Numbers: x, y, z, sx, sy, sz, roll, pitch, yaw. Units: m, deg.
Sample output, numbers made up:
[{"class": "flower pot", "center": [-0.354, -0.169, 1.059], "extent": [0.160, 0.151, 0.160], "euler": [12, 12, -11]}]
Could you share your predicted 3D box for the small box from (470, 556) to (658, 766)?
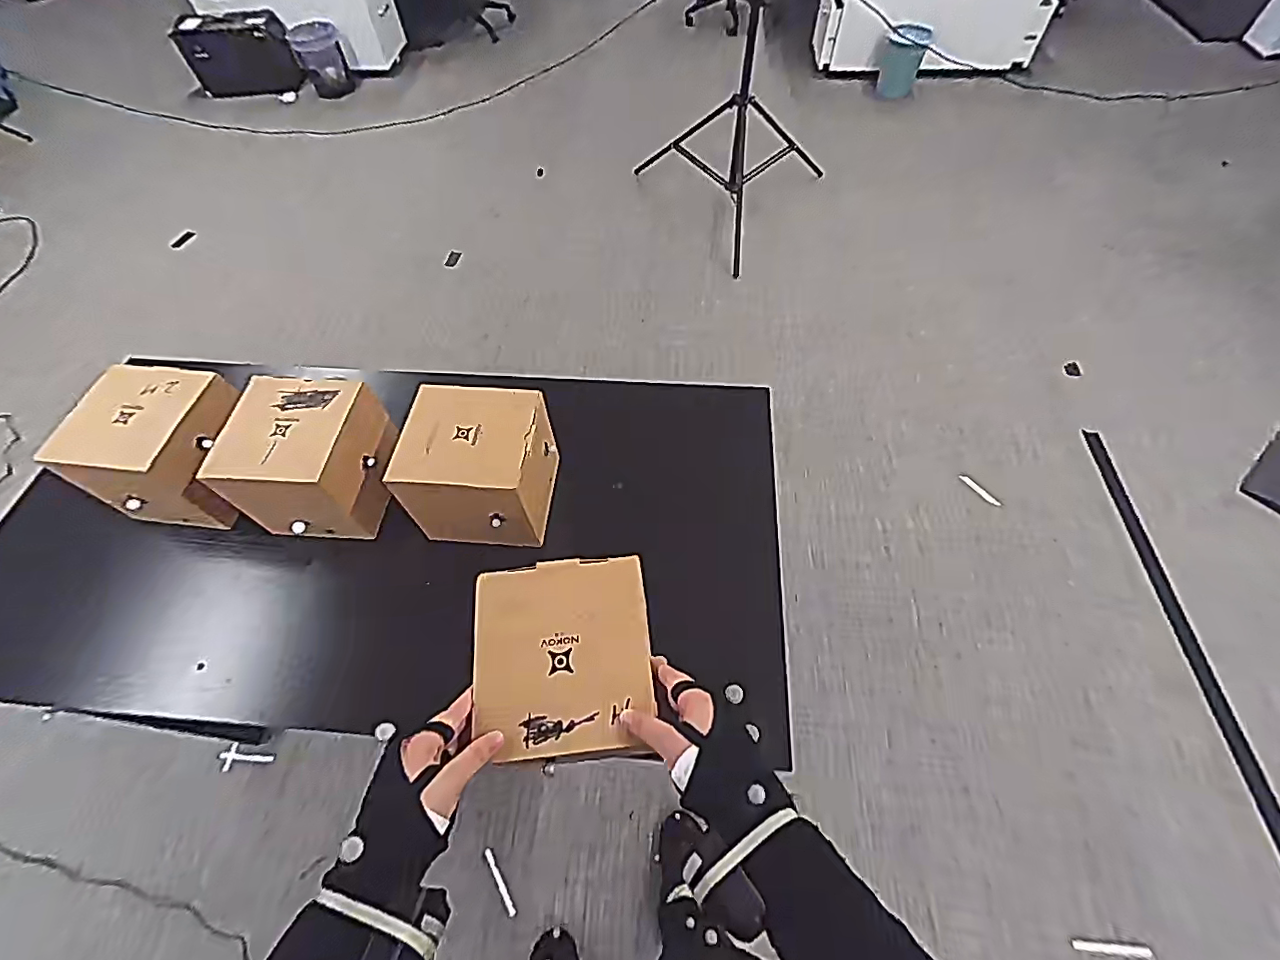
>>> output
[{"class": "small box", "center": [-0.072, 0.199, 0.579], "extent": [0.168, 0.176, 0.179], "euler": [-7, 62, -1]}]

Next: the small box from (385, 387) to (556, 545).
[{"class": "small box", "center": [-0.228, -0.015, 0.786], "extent": [0.179, 0.176, 0.168], "euler": [2, 56, 4]}]

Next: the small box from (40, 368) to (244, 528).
[{"class": "small box", "center": [-0.699, -0.042, 0.816], "extent": [0.168, 0.176, 0.179], "euler": [6, 58, 4]}]

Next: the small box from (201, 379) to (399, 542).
[{"class": "small box", "center": [-0.476, -0.026, 0.799], "extent": [0.168, 0.176, 0.179], "euler": [2, 59, 2]}]
